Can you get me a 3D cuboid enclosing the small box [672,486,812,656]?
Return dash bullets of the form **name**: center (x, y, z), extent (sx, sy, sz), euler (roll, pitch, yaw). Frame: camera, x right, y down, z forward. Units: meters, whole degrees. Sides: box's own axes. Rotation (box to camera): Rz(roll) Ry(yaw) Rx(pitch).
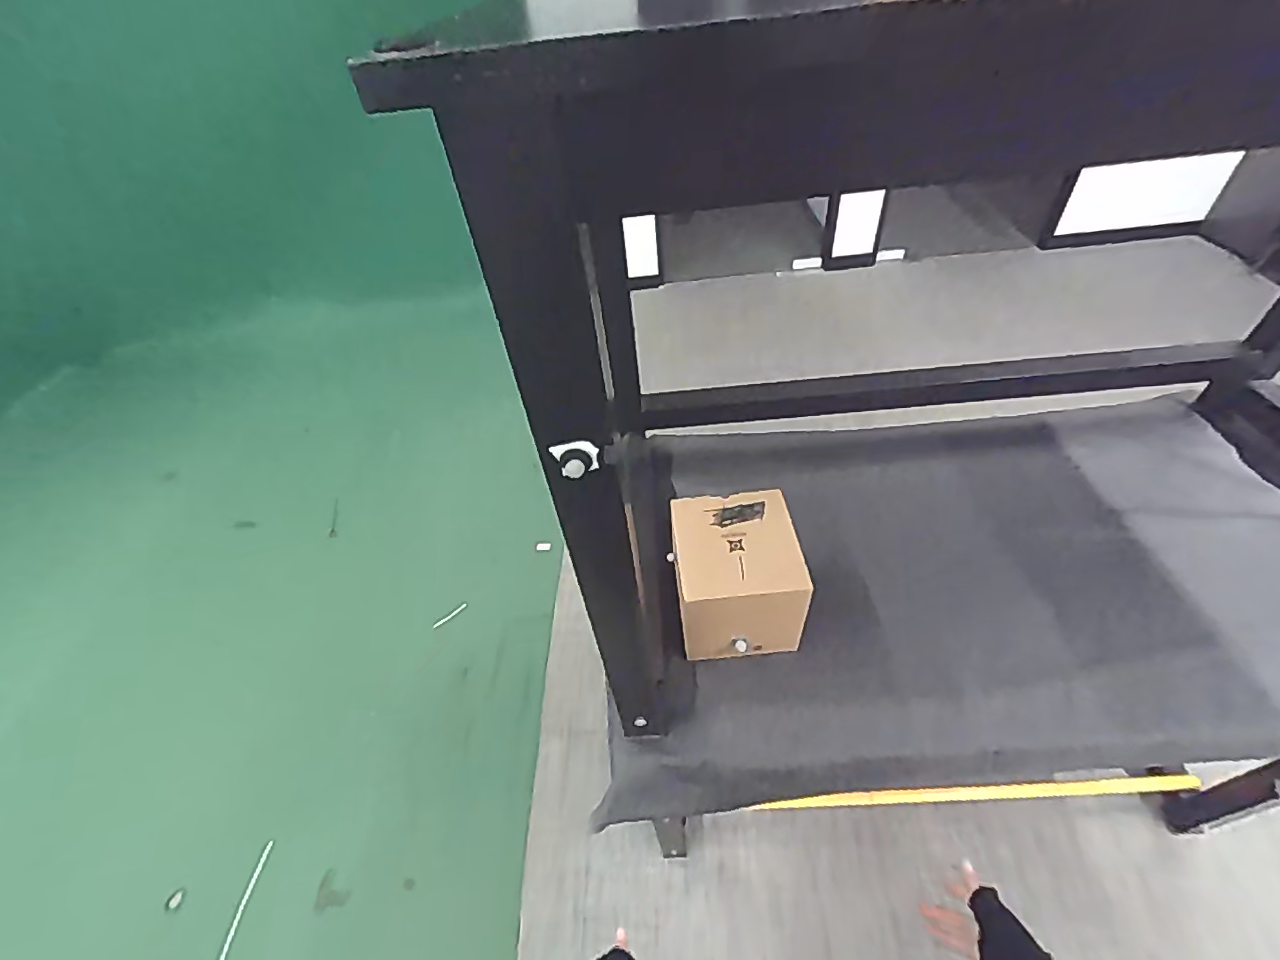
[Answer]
- **small box**: center (0.137, 0.134, 0.793), extent (0.168, 0.176, 0.179), euler (-7, 46, 1)
